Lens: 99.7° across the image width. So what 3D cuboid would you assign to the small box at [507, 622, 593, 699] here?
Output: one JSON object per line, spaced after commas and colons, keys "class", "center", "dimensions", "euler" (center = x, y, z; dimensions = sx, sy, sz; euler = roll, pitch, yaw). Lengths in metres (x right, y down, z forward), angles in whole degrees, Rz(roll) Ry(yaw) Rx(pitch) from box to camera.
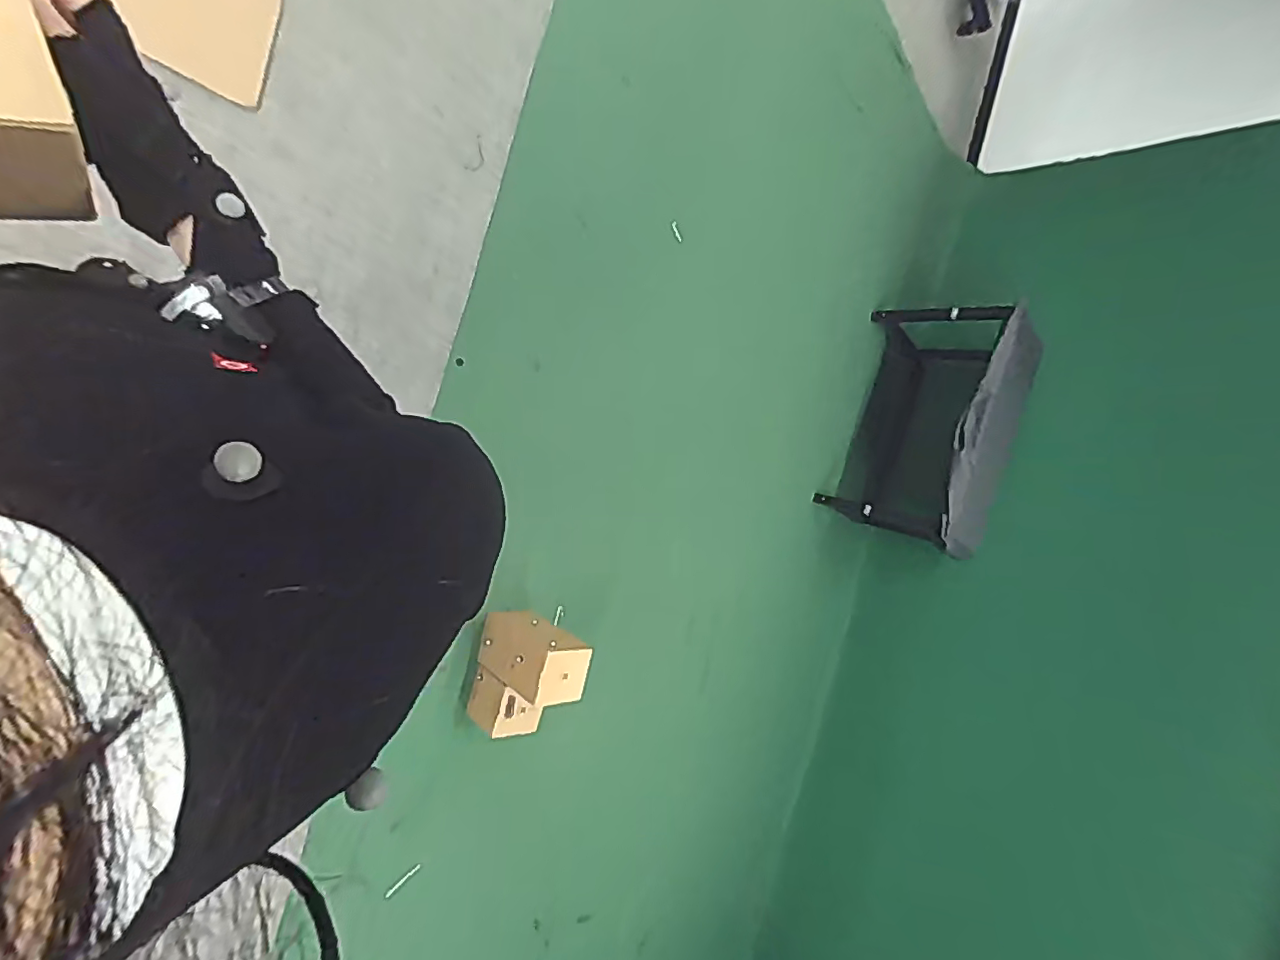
{"class": "small box", "center": [-0.279, 0.545, 1.659], "dimensions": [0.179, 0.176, 0.168], "euler": [13, 92, -44]}
